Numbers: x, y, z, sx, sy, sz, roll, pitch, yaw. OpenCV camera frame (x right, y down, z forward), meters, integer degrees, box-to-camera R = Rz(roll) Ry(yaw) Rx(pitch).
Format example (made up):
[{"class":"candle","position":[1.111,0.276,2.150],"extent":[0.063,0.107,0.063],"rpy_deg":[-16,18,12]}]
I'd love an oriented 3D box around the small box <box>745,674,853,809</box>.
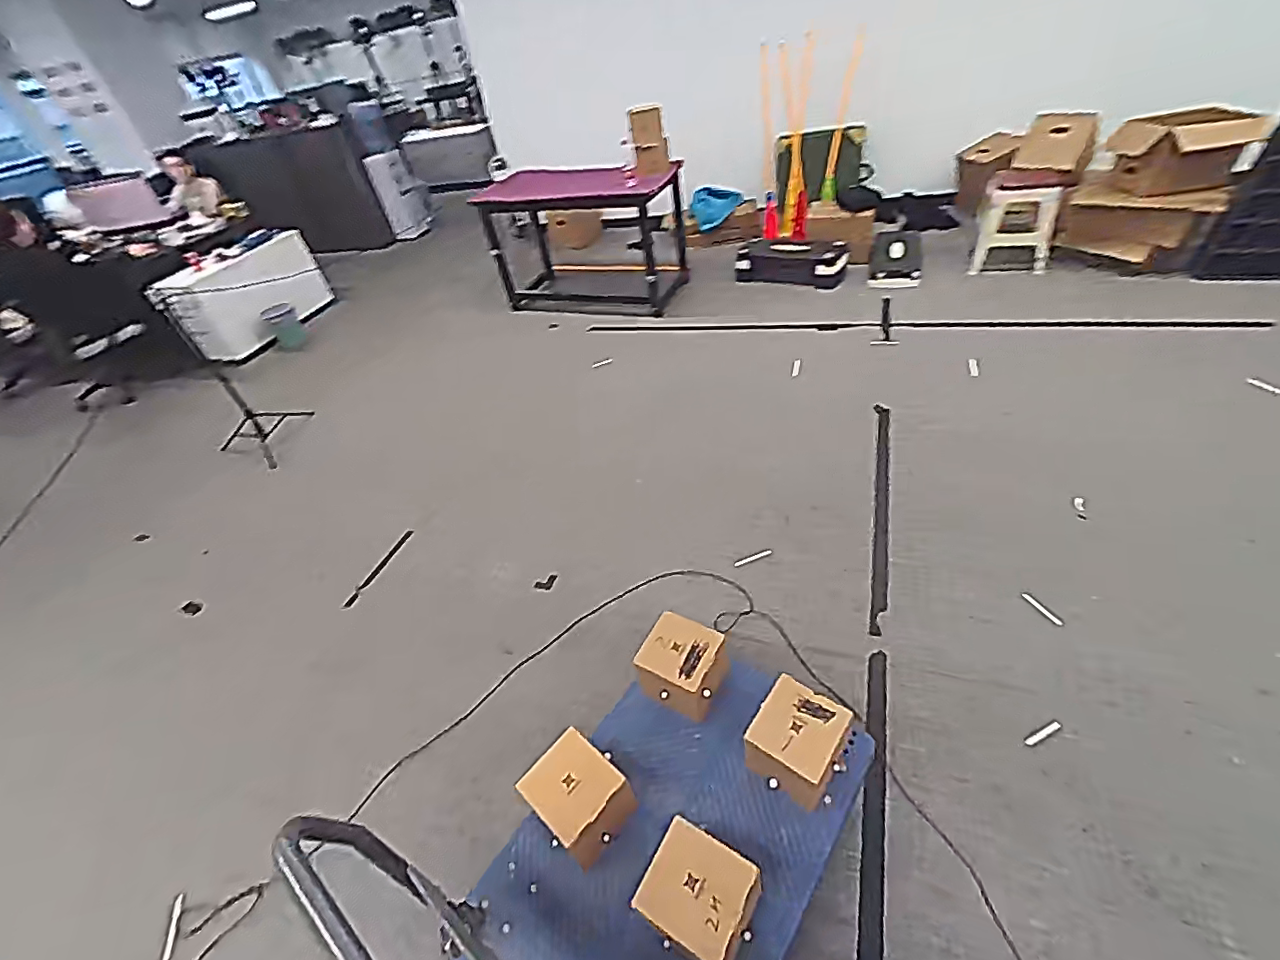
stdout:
[{"class":"small box","position":[0.345,0.573,1.186],"extent":[0.168,0.176,0.179],"rpy_deg":[23,53,33]}]

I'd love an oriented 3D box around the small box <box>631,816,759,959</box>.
[{"class":"small box","position":[0.110,0.780,1.010],"extent":[0.179,0.176,0.168],"rpy_deg":[17,49,30]}]

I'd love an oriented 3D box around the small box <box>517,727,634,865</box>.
[{"class":"small box","position":[-0.135,0.688,1.174],"extent":[0.179,0.176,0.168],"rpy_deg":[28,54,35]}]
